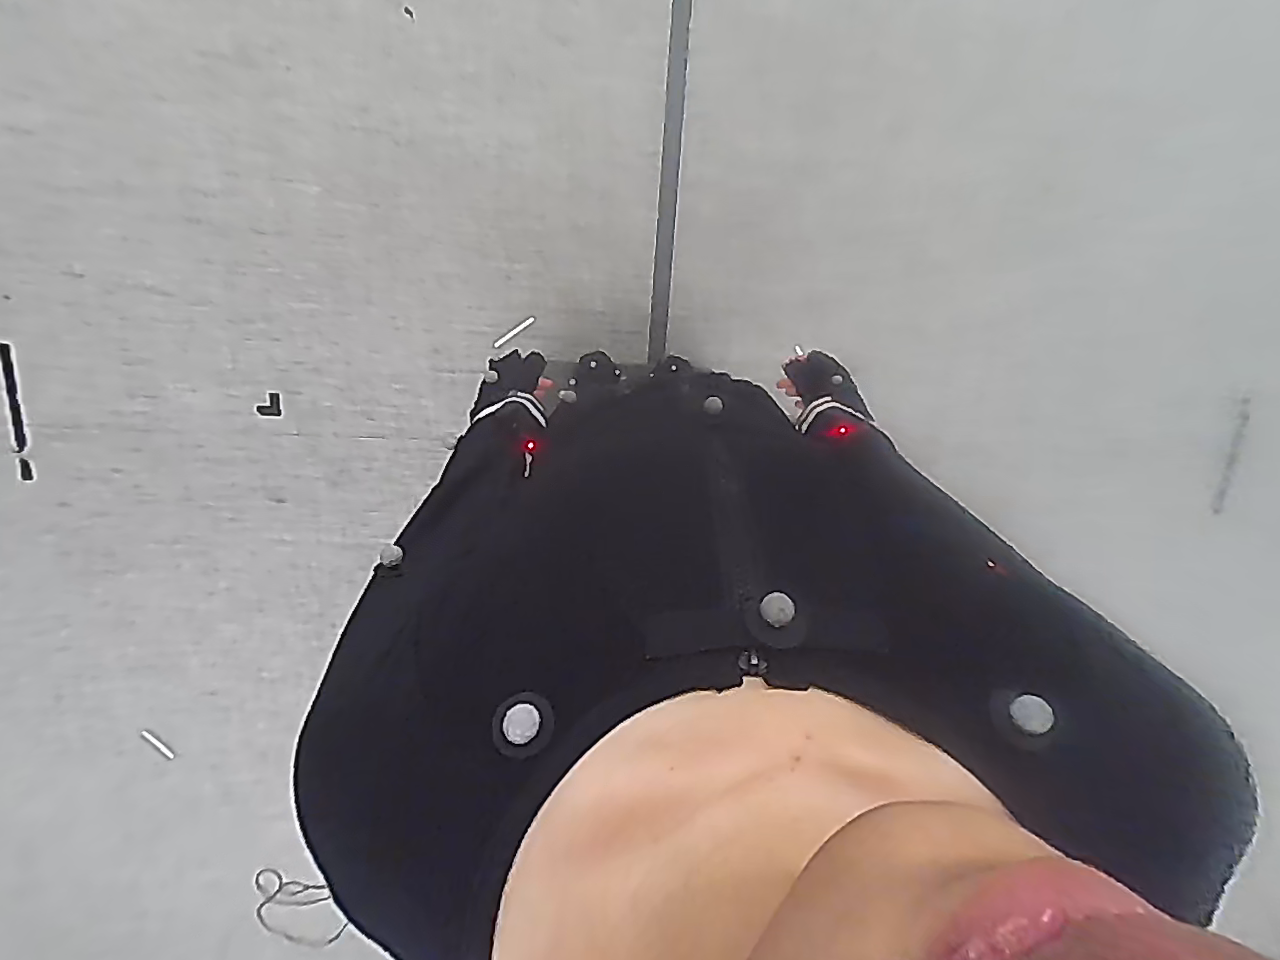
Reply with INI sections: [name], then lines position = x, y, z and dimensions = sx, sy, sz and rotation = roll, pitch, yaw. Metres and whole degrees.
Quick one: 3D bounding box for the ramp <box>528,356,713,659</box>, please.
[ramp]
position = -0.070, 0.141, 1.610
dimensions = 0.509, 0.206, 0.991
rotation = 0, 104, -3
